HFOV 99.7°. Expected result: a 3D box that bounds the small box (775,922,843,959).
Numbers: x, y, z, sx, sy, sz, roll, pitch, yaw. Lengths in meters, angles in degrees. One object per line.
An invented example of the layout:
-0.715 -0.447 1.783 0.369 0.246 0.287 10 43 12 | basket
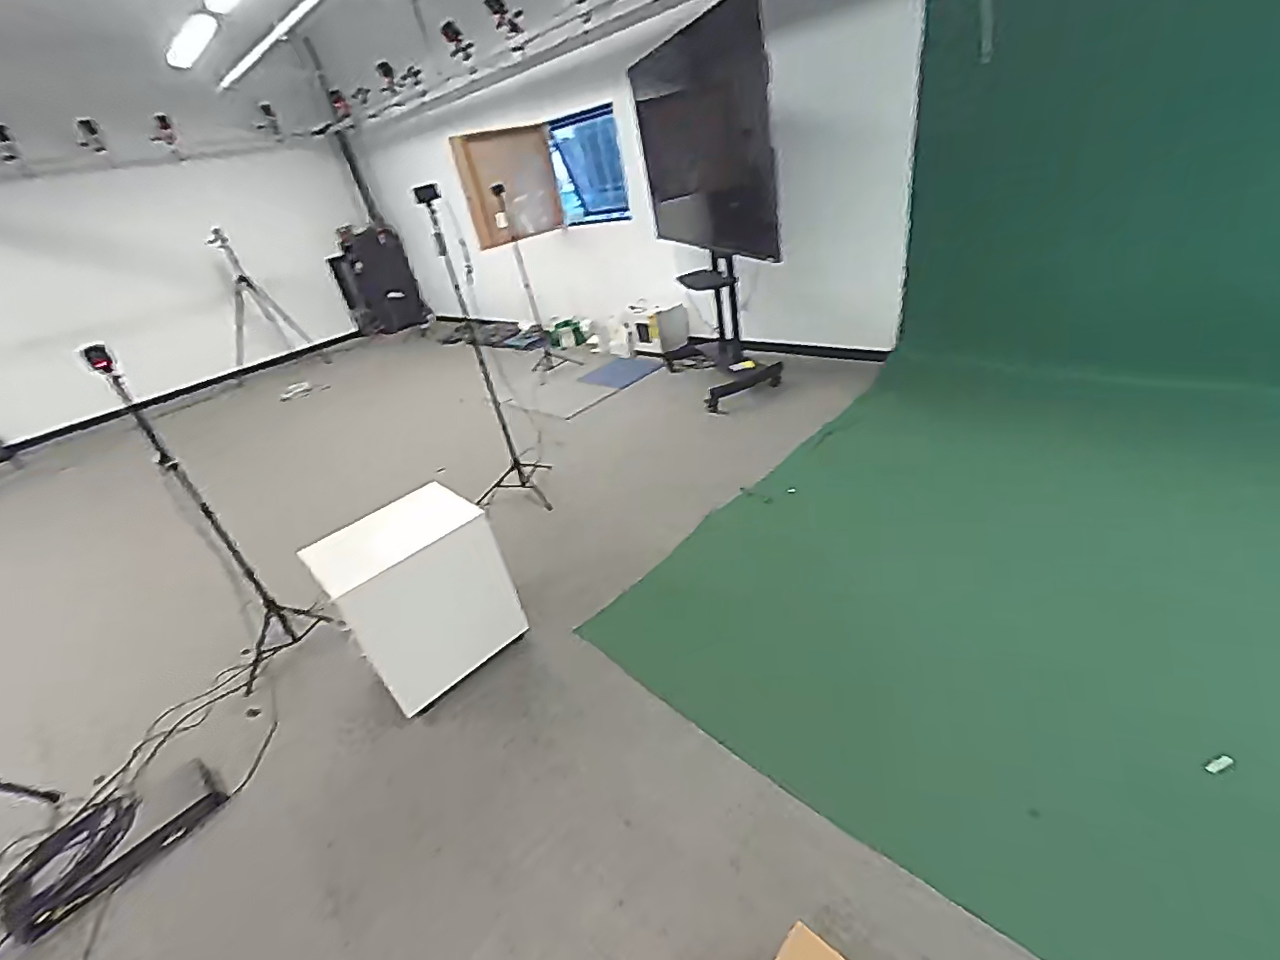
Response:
0.343 1.031 1.047 0.179 0.176 0.168 19 43 41 | small box
